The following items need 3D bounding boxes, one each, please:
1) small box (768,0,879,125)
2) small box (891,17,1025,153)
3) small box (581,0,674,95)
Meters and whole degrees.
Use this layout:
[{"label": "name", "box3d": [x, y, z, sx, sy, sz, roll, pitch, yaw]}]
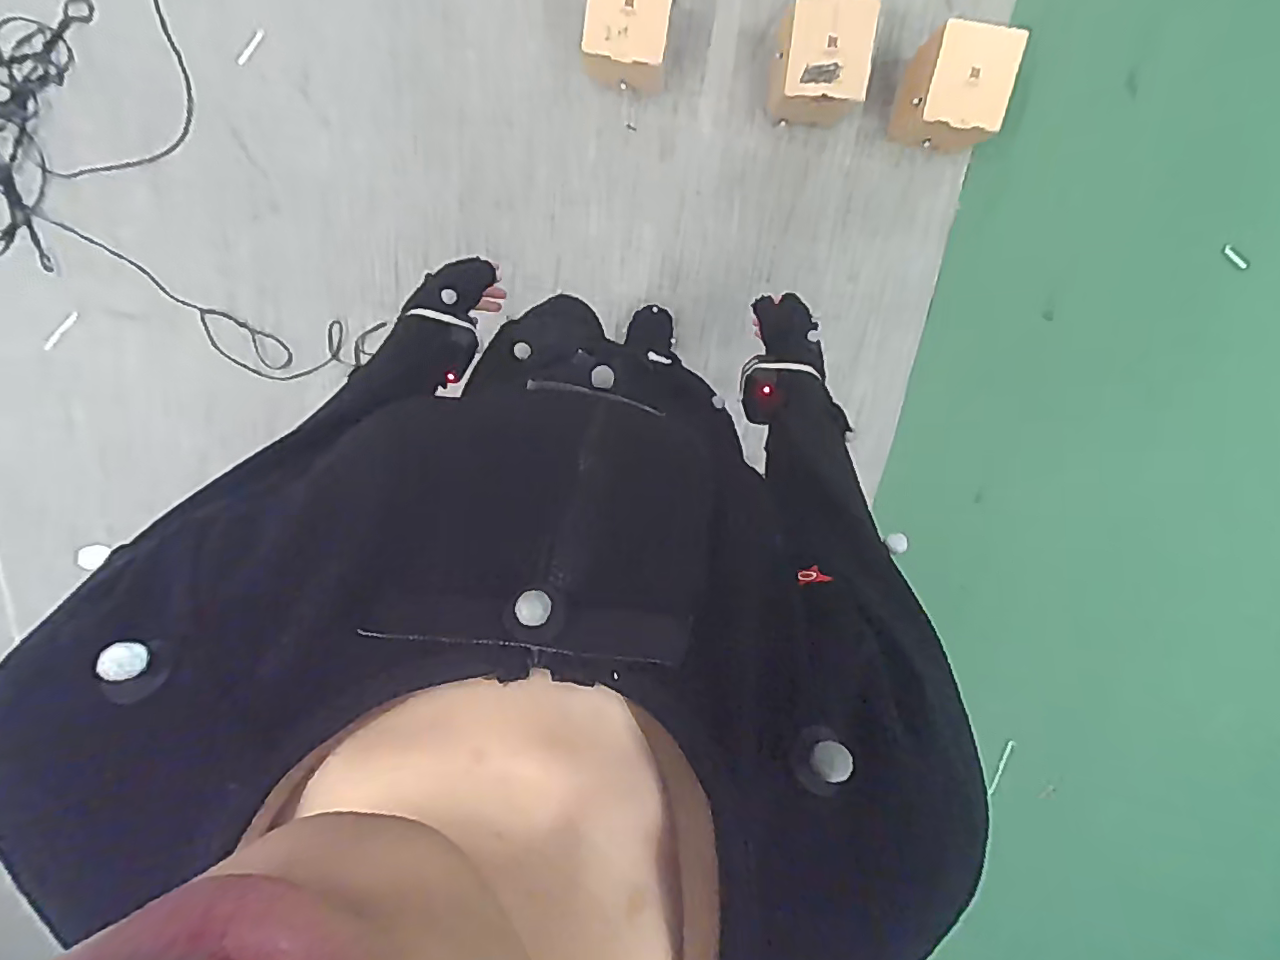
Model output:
[{"label": "small box", "box3d": [0.375, -0.878, 1.142, 0.168, 0.176, 0.179, 4, 106, -1]}, {"label": "small box", "box3d": [0.664, -0.830, 1.154, 0.168, 0.176, 0.179, 8, 107, -1]}, {"label": "small box", "box3d": [-0.021, -0.944, 1.125, 0.168, 0.176, 0.179, 10, 107, -1]}]
